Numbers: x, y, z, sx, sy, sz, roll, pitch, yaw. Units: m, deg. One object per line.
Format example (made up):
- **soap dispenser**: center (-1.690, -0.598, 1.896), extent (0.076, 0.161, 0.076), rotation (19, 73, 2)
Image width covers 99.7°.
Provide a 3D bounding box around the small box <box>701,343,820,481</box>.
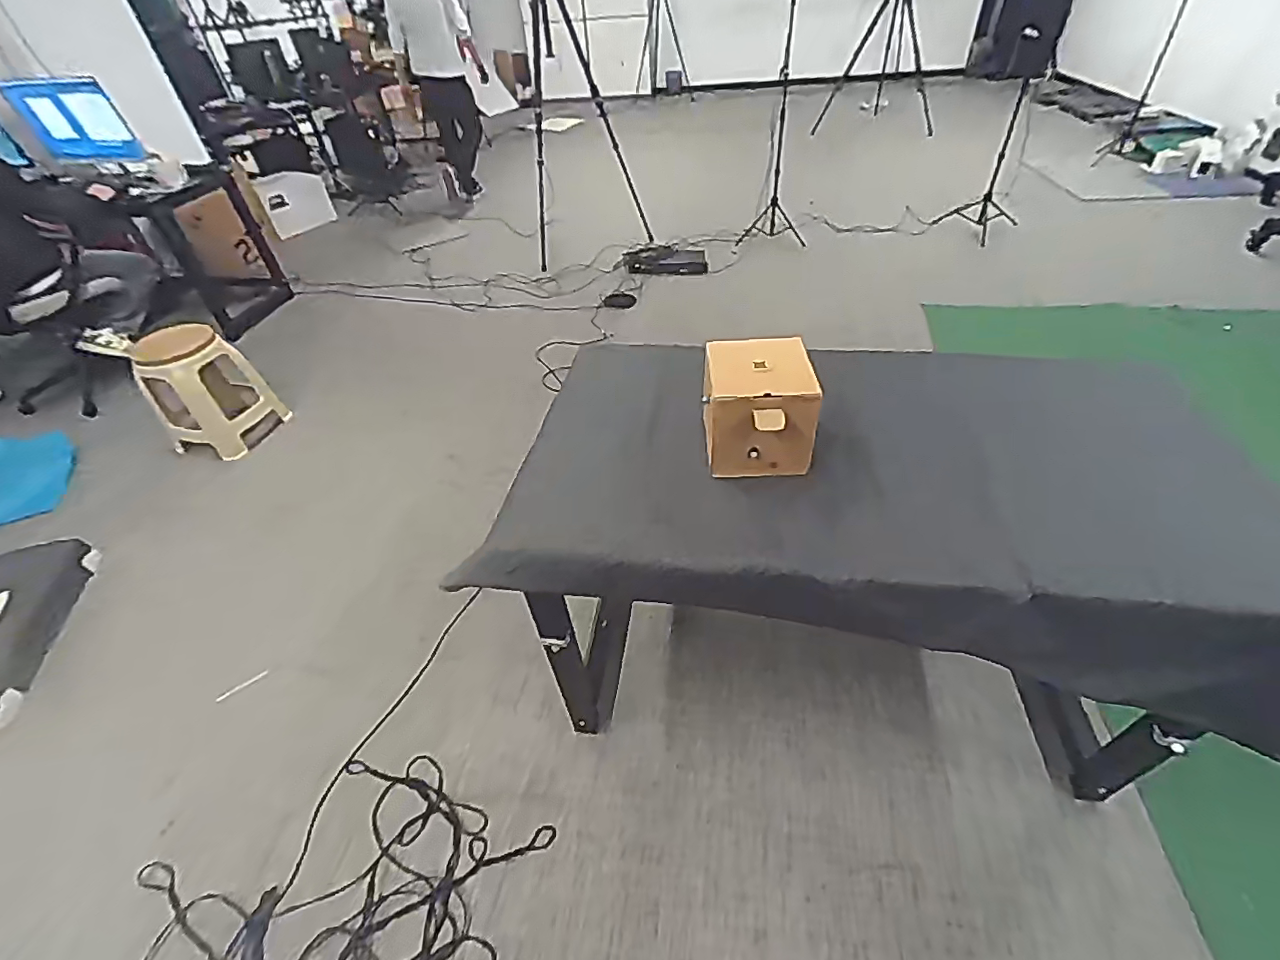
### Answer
- **small box**: center (0.195, -0.117, 0.931), extent (0.168, 0.176, 0.179), rotation (-2, 43, 2)
